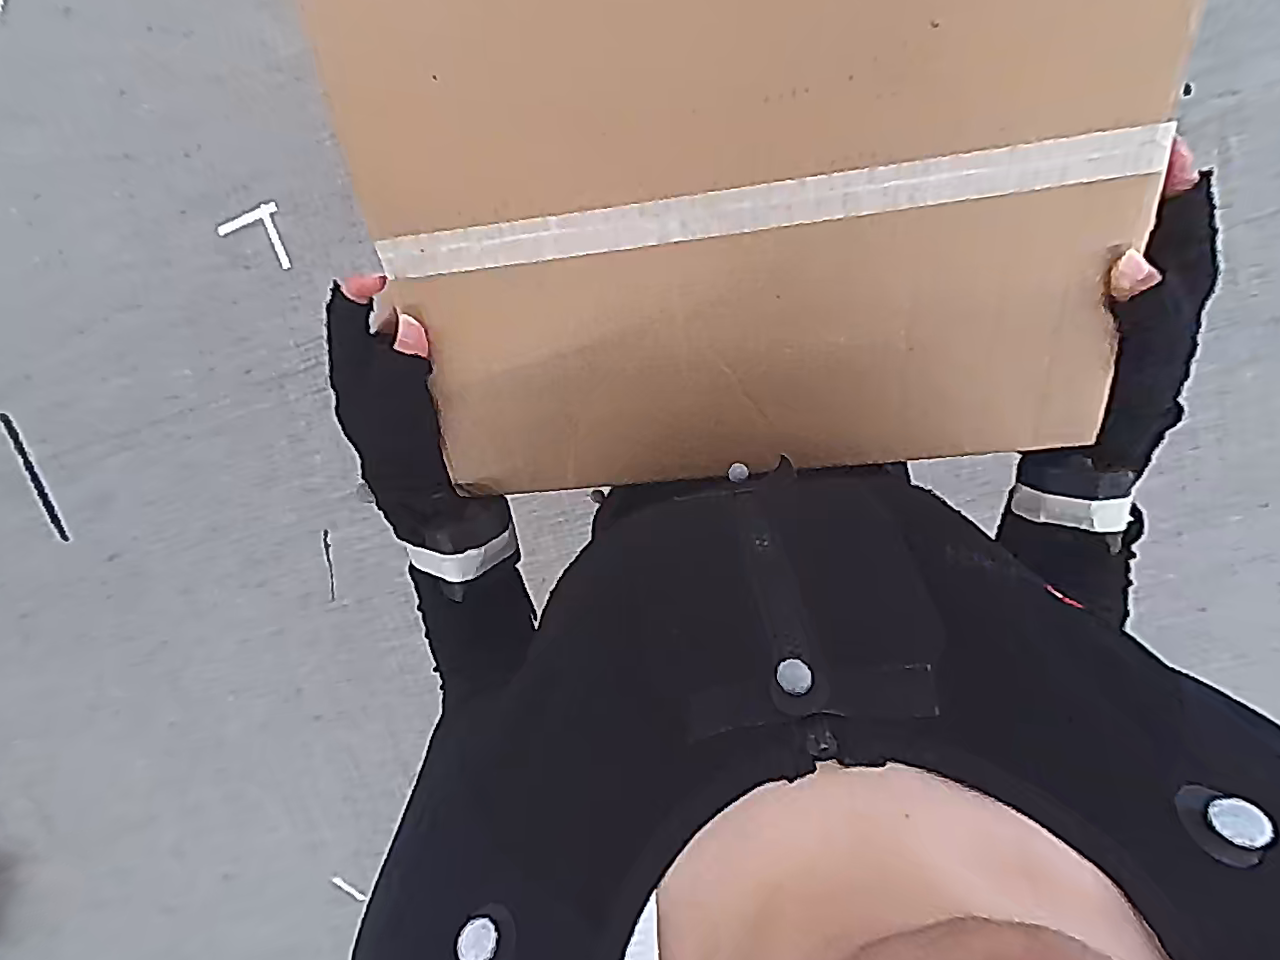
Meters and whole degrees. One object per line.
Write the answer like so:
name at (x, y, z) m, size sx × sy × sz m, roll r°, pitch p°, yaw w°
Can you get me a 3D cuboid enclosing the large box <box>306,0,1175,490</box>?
large box at (0.062, -0.216, 0.423) m, size 0.408 × 0.320 × 0.320 m, roll -5°, pitch 116°, yaw 7°
